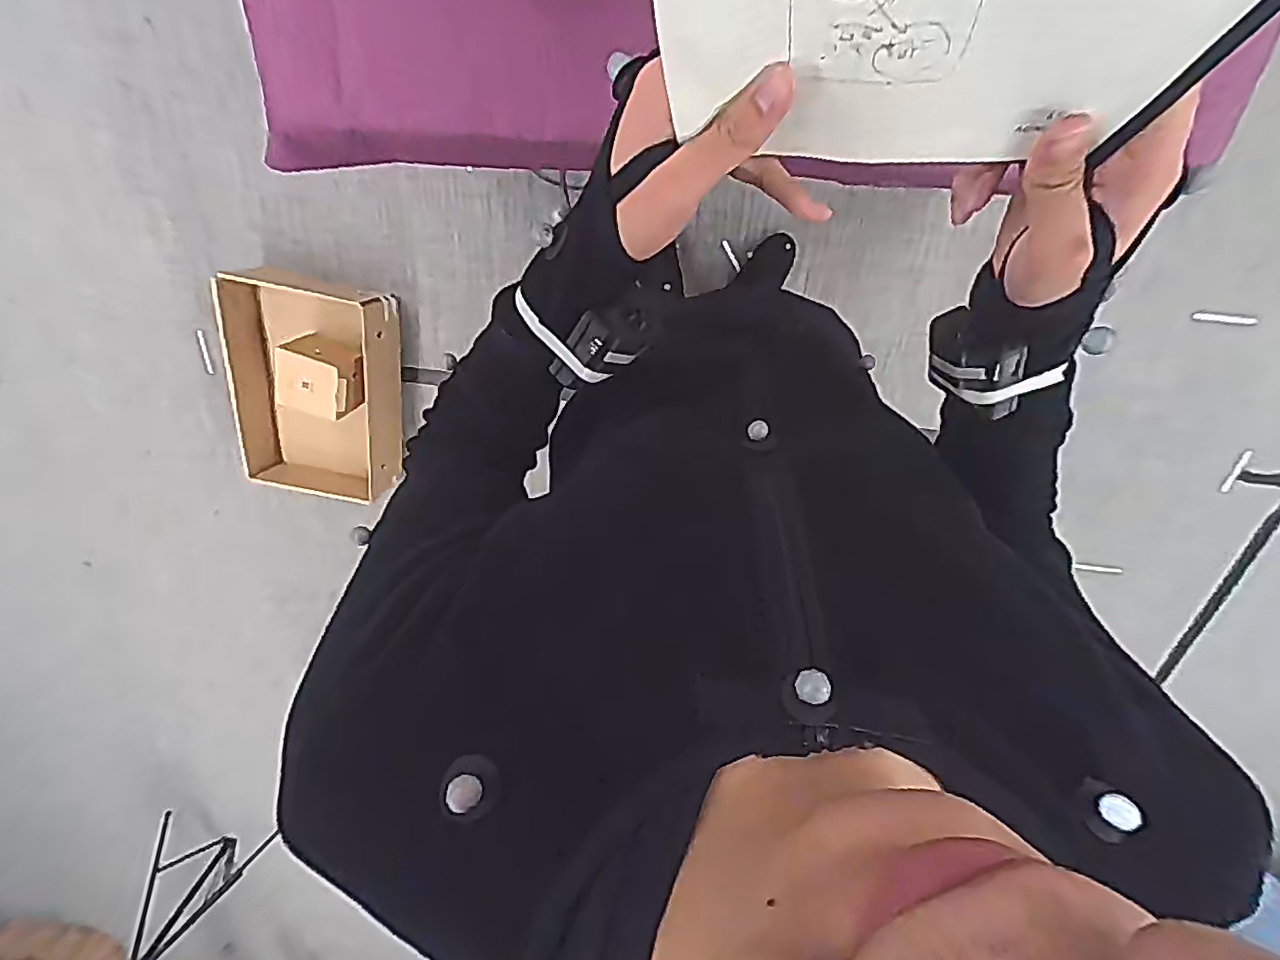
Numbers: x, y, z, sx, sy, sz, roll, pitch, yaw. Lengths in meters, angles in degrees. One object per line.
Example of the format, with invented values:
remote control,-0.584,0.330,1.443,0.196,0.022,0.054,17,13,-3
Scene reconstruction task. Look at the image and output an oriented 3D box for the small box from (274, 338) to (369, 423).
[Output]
small box,-0.898,-0.288,1.533,0.179,0.176,0.168,18,118,-5
